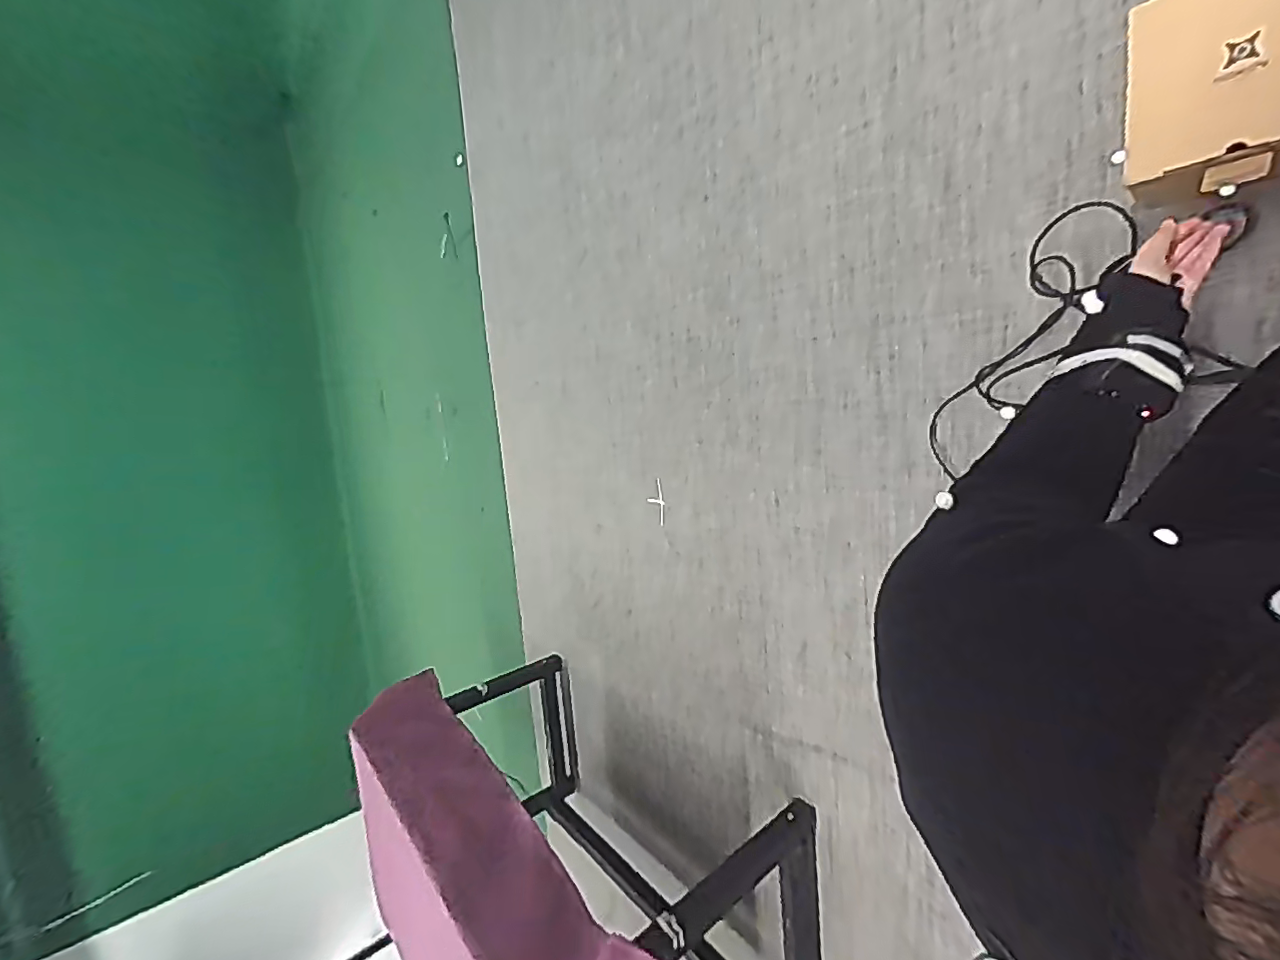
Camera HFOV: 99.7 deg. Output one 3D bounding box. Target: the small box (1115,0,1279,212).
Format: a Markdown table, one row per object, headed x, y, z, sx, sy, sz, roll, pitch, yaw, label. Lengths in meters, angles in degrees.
| x | y | z | sx | sy | sz | roll | pitch | yaw | label |
| --- | --- | --- | --- | --- | --- | --- | --- | --- | --- |
| 0.630 | -0.411 | 0.572 | 0.168 | 0.176 | 0.179 | 5 | 102 | 51 | small box |
